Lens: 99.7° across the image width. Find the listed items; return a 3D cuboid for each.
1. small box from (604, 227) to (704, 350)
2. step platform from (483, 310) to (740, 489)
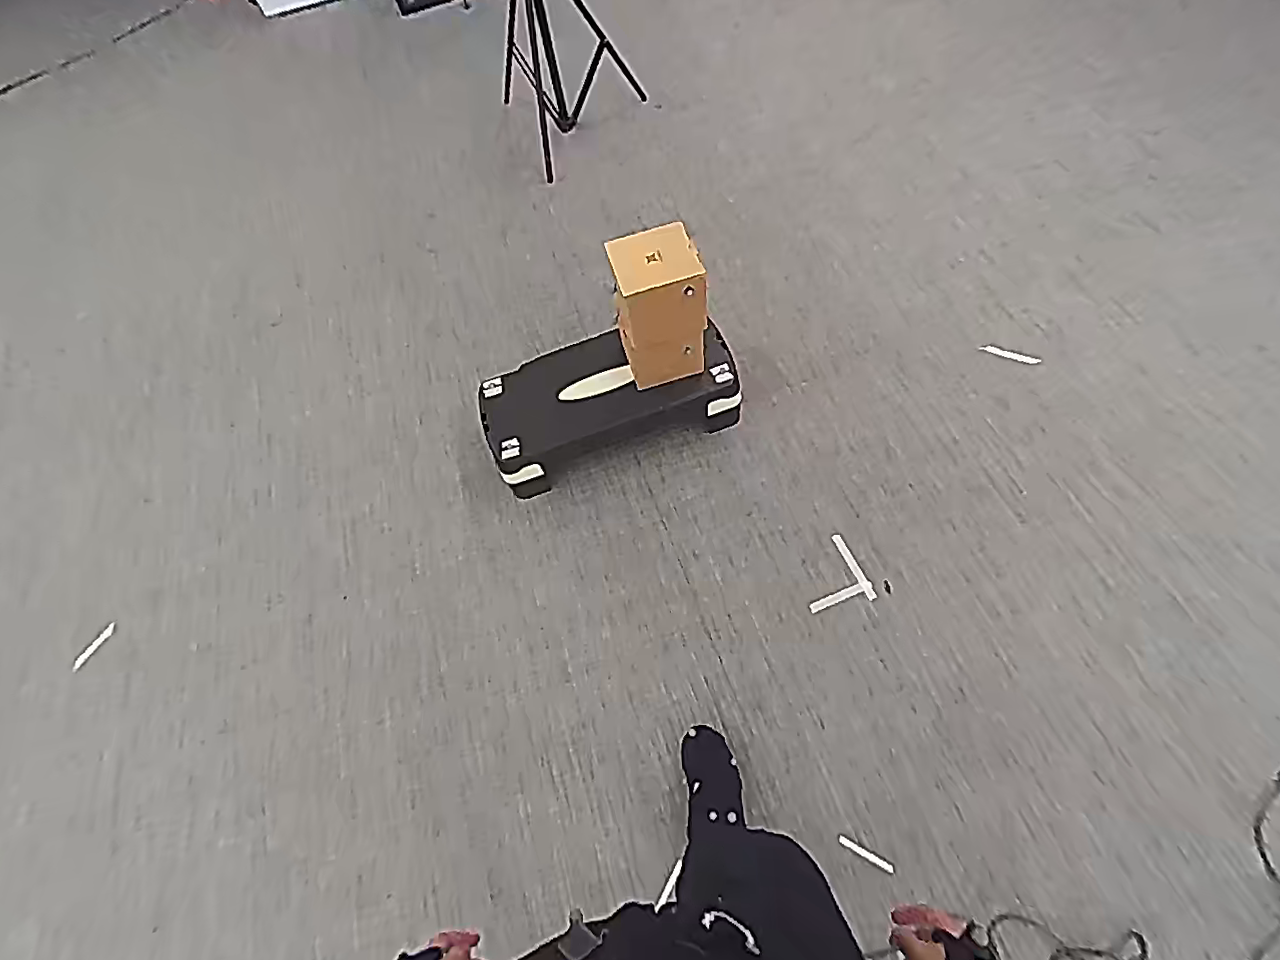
[{"bbox_3d":[0.035,-0.412,1.184,0.179,0.176,0.168,-17,63,-2],"label":"small box"},{"bbox_3d":[-0.078,-0.229,1.486,0.684,0.204,0.286,-21,63,-3],"label":"step platform"}]
